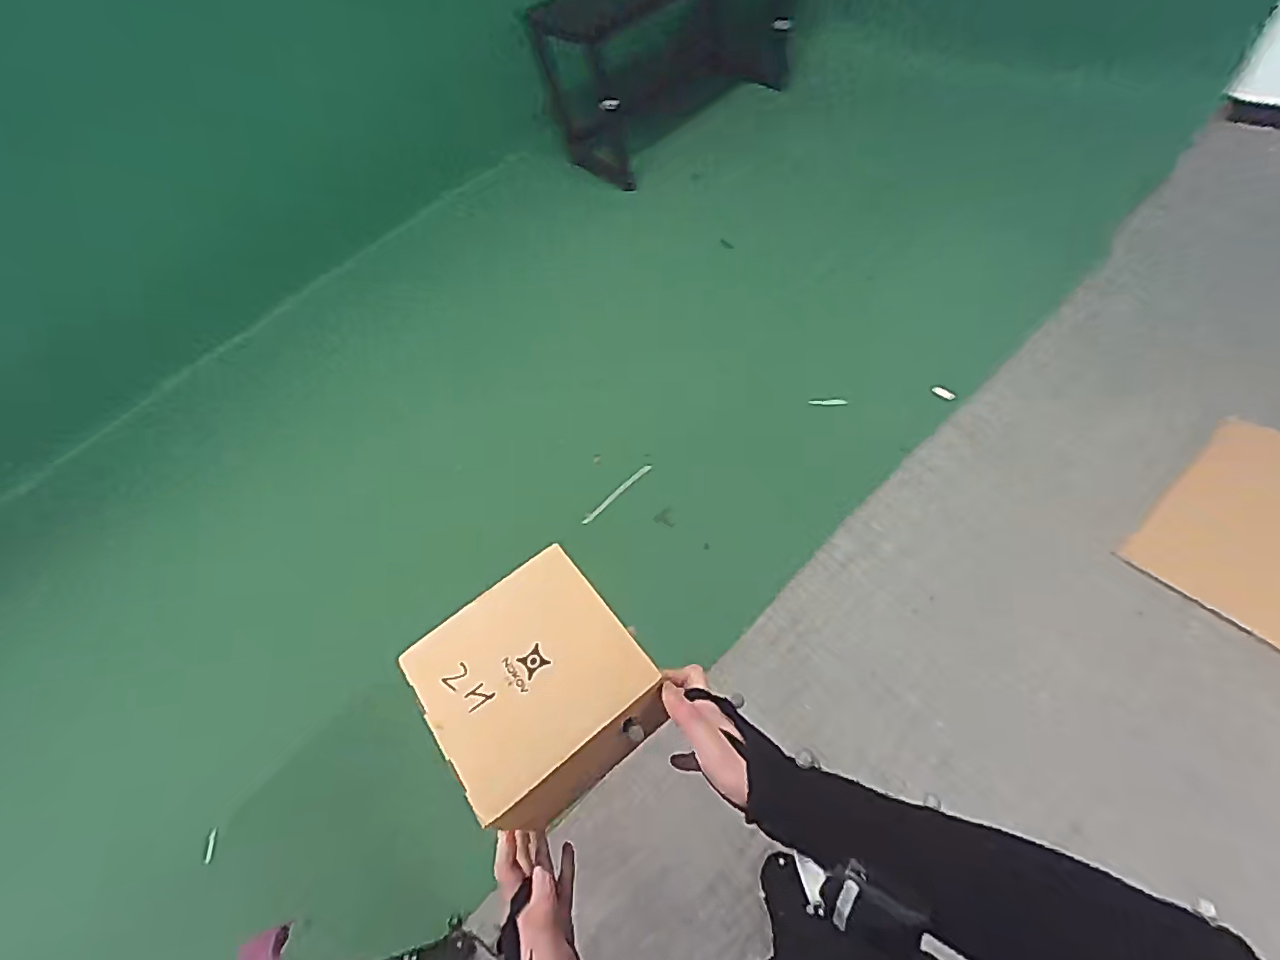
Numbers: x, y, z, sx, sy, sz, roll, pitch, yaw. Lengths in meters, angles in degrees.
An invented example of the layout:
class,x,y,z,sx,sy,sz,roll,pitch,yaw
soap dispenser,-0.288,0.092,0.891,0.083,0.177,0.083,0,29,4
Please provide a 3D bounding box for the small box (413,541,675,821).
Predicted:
class,x,y,z,sx,sy,sz,roll,pitch,yaw
small box,-0.080,0.198,0.529,0.179,0.176,0.168,-35,59,-14
